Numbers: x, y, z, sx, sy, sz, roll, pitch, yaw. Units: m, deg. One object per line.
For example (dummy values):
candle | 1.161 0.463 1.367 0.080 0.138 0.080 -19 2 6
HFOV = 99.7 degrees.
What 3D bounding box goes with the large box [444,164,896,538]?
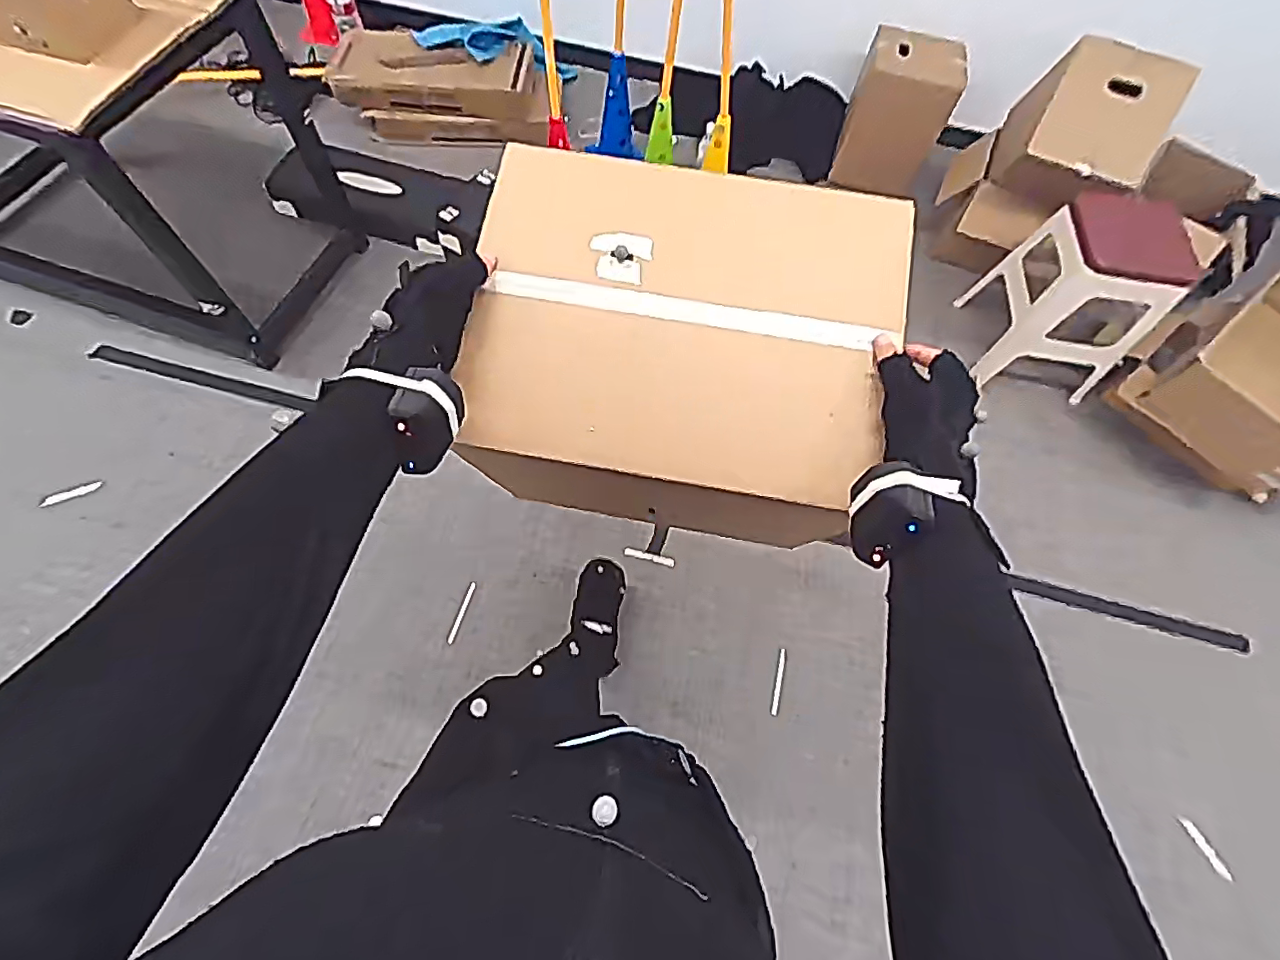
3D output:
large box | 0.043 -0.122 0.667 0.408 0.320 0.320 10 77 4
